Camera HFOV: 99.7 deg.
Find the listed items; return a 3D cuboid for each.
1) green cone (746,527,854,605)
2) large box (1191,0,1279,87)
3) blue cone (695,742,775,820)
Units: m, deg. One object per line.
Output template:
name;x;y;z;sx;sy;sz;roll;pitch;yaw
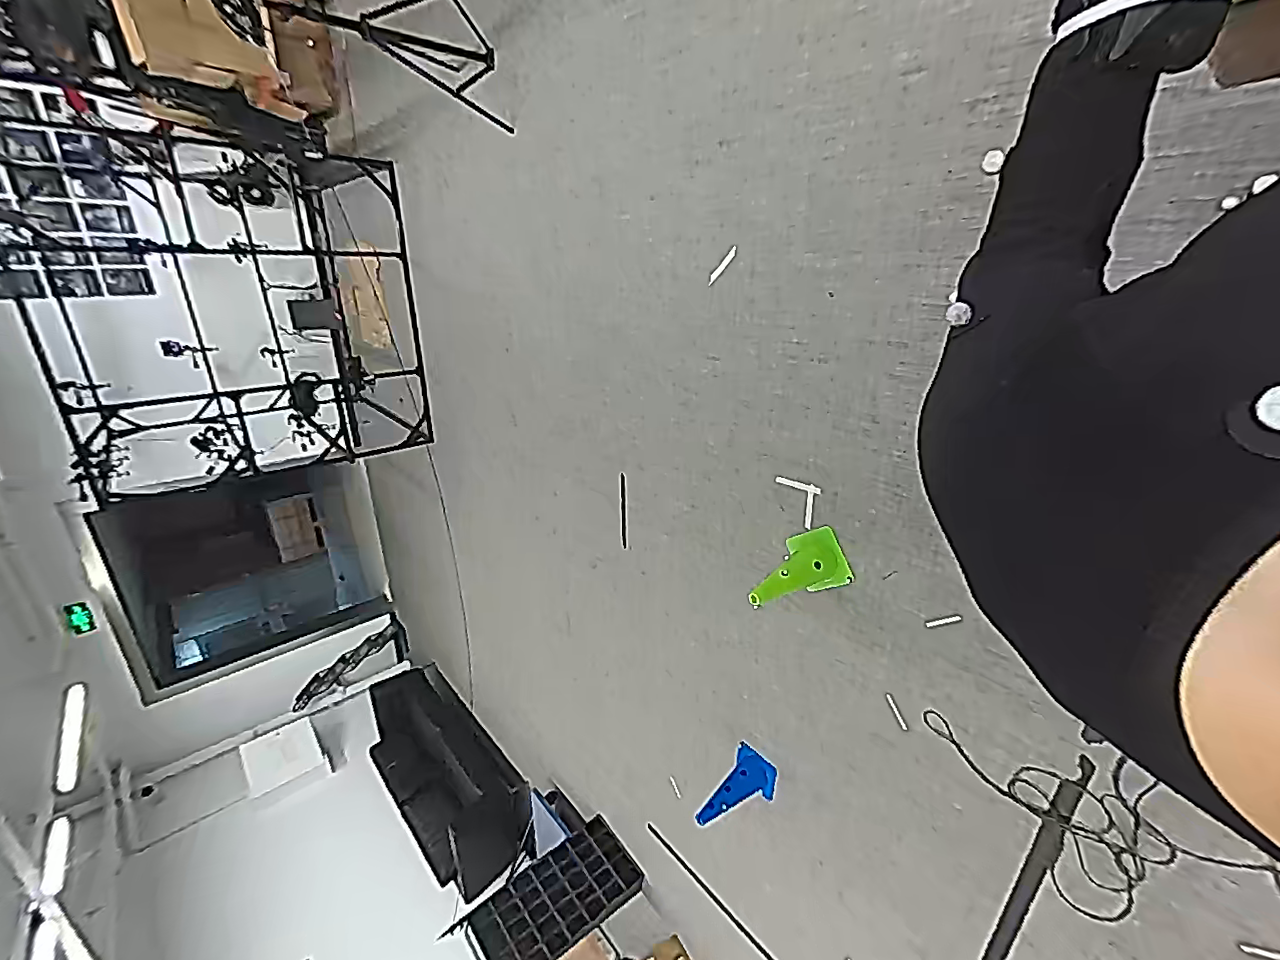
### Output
green cone;0.472;0.307;1.720;0.202;0.368;0.200;-34;77;53
large box;0.569;-0.436;0.240;0.408;0.320;0.320;18;120;44
blue cone;0.381;1.299;2.257;0.192;0.380;0.193;28;124;44
